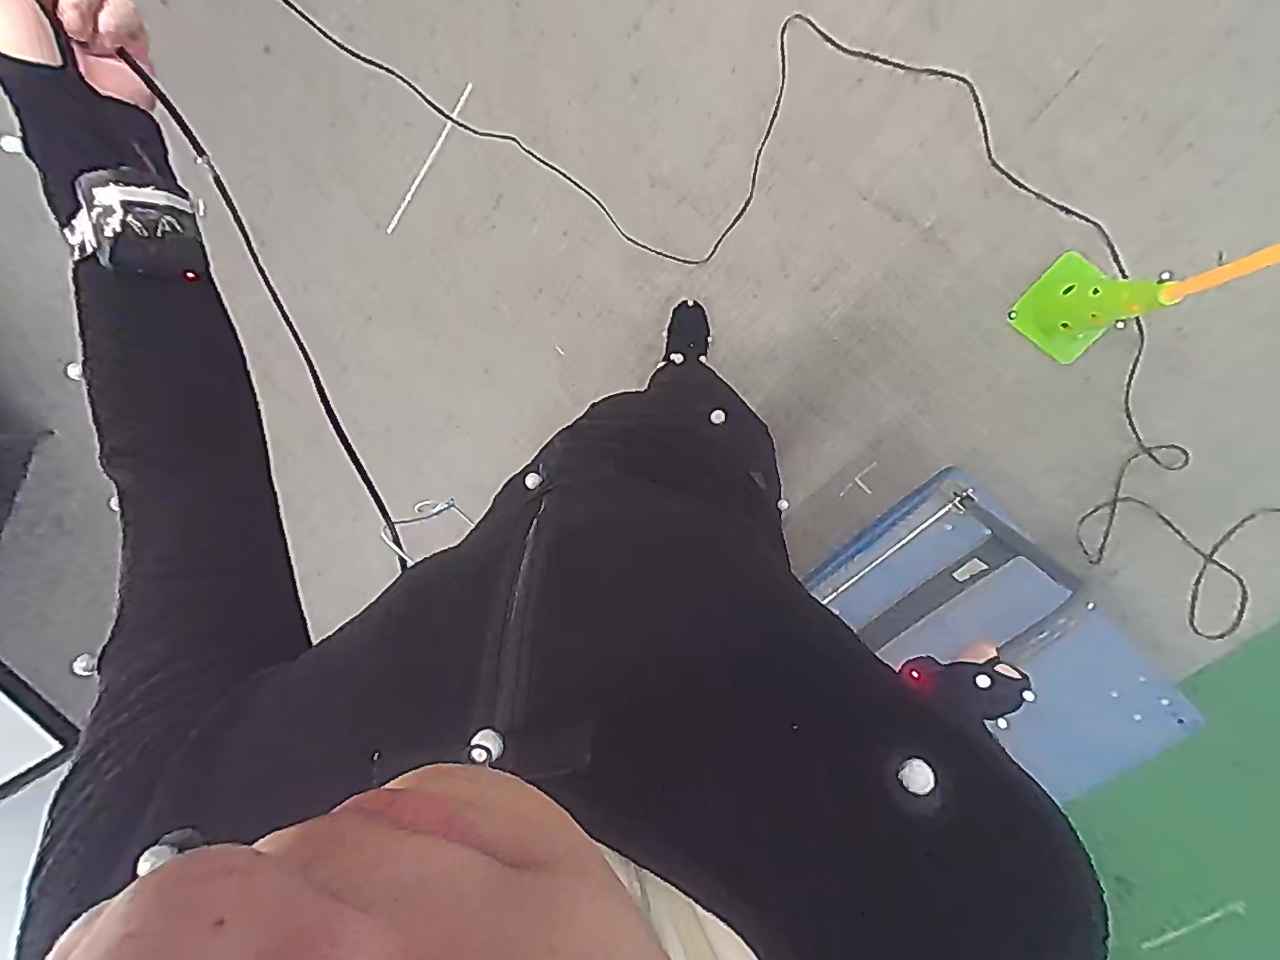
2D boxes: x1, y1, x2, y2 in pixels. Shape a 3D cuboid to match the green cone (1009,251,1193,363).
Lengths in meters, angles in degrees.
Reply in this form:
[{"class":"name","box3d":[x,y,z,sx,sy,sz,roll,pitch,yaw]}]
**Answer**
[{"class":"green cone","box3d":[0.993,-0.375,1.130,0.200,0.368,0.202,38,107,1]}]
